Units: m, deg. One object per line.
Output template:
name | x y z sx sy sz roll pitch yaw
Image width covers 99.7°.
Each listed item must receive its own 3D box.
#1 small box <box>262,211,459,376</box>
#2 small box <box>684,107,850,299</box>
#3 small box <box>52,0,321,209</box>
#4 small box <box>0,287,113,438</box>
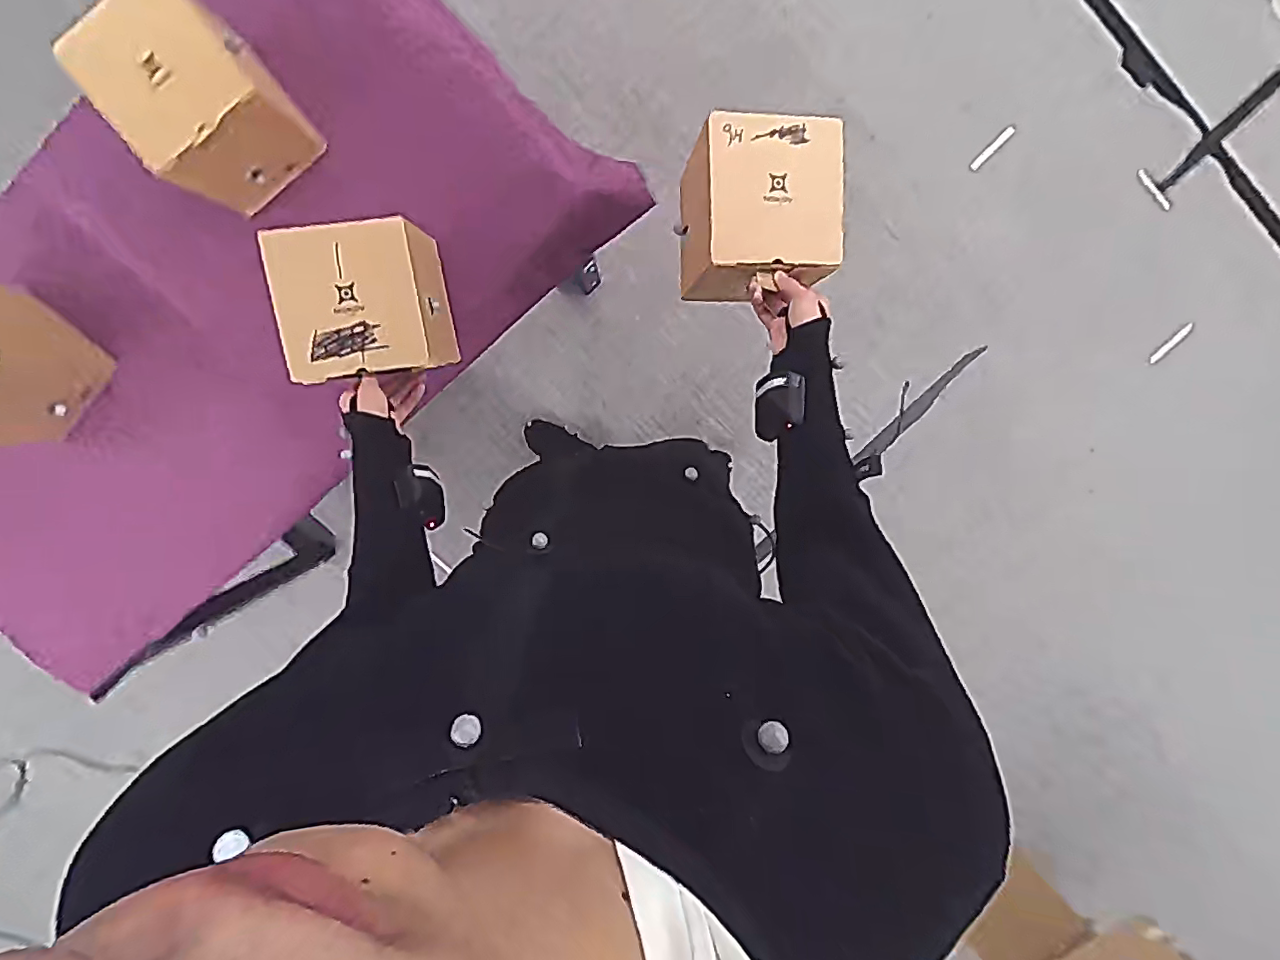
small box | -0.350 -0.240 0.719 0.168 0.176 0.179 -8 105 -6
small box | 0.155 -0.346 0.711 0.168 0.176 0.179 -1 94 -8
small box | -0.585 -0.507 0.726 0.168 0.176 0.179 -38 99 4
small box | -0.934 -0.168 0.764 0.179 0.176 0.168 42 95 -7
